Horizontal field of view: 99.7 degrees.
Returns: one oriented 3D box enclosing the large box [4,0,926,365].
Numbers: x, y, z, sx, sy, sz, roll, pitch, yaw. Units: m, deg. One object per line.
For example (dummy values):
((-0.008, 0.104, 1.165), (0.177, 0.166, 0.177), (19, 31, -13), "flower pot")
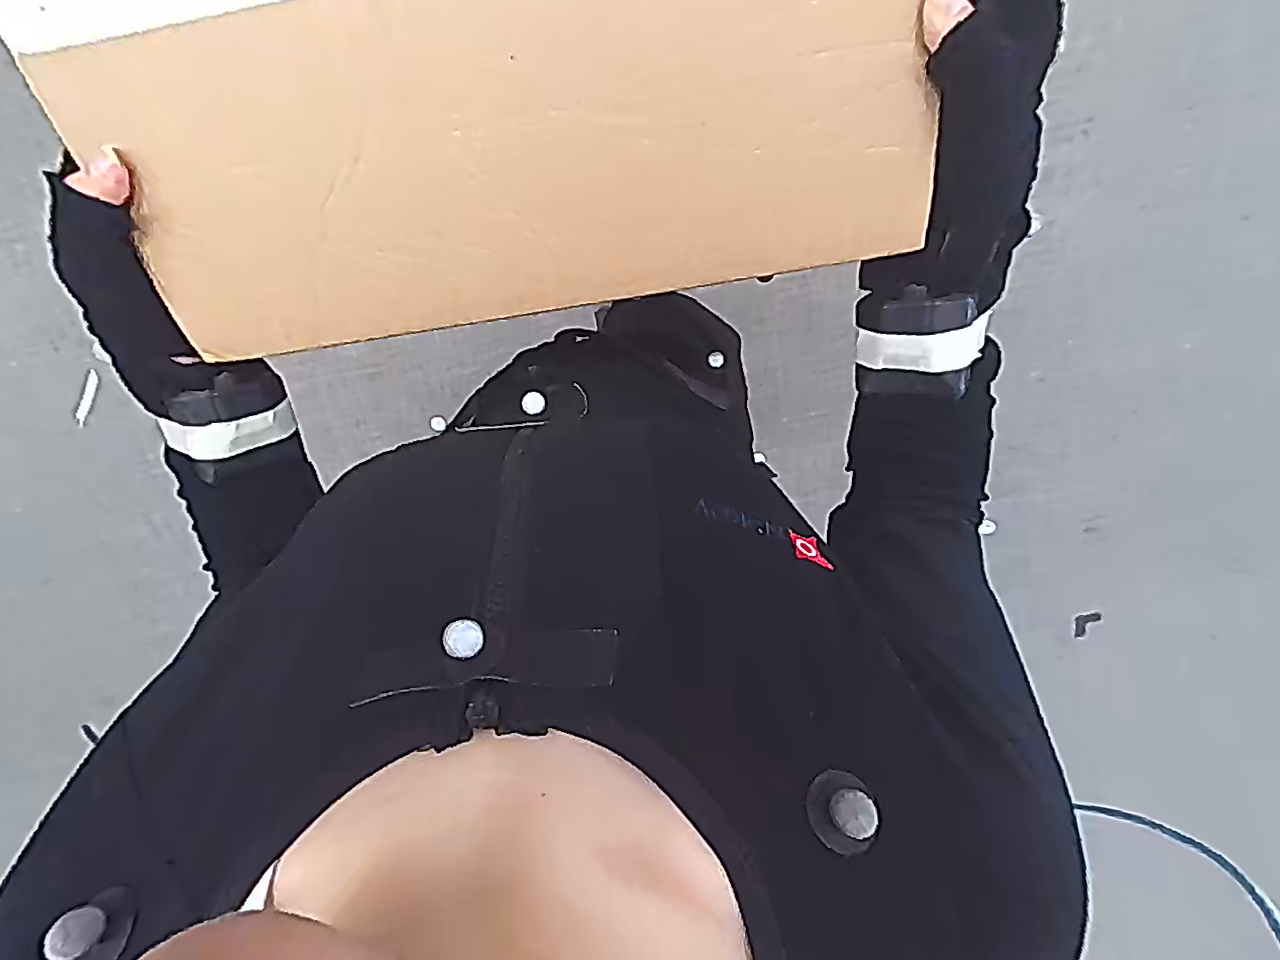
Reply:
((-0.075, -0.304, 0.352), (0.408, 0.320, 0.320), (-7, 121, 6), "large box")
